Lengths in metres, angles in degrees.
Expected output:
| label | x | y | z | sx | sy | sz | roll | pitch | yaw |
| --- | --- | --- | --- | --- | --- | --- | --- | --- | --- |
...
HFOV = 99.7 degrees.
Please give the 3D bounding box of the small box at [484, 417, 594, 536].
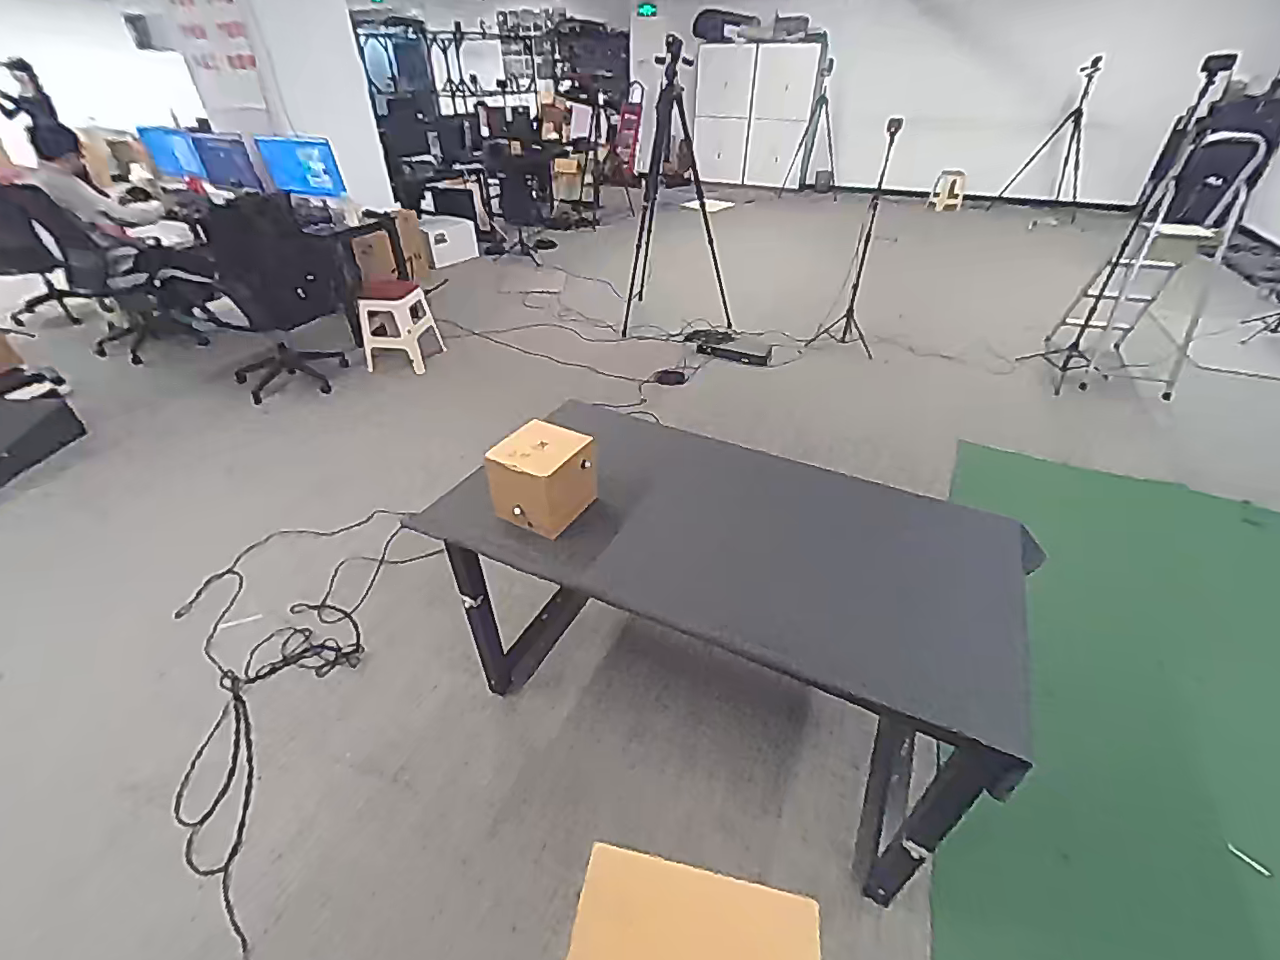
| label | x | y | z | sx | sy | sz | roll | pitch | yaw |
| --- | --- | --- | --- | --- | --- | --- | --- | --- | --- |
| small box | -0.216 | -0.010 | 1.190 | 0.168 | 0.176 | 0.179 | 19 | 40 | 23 |
